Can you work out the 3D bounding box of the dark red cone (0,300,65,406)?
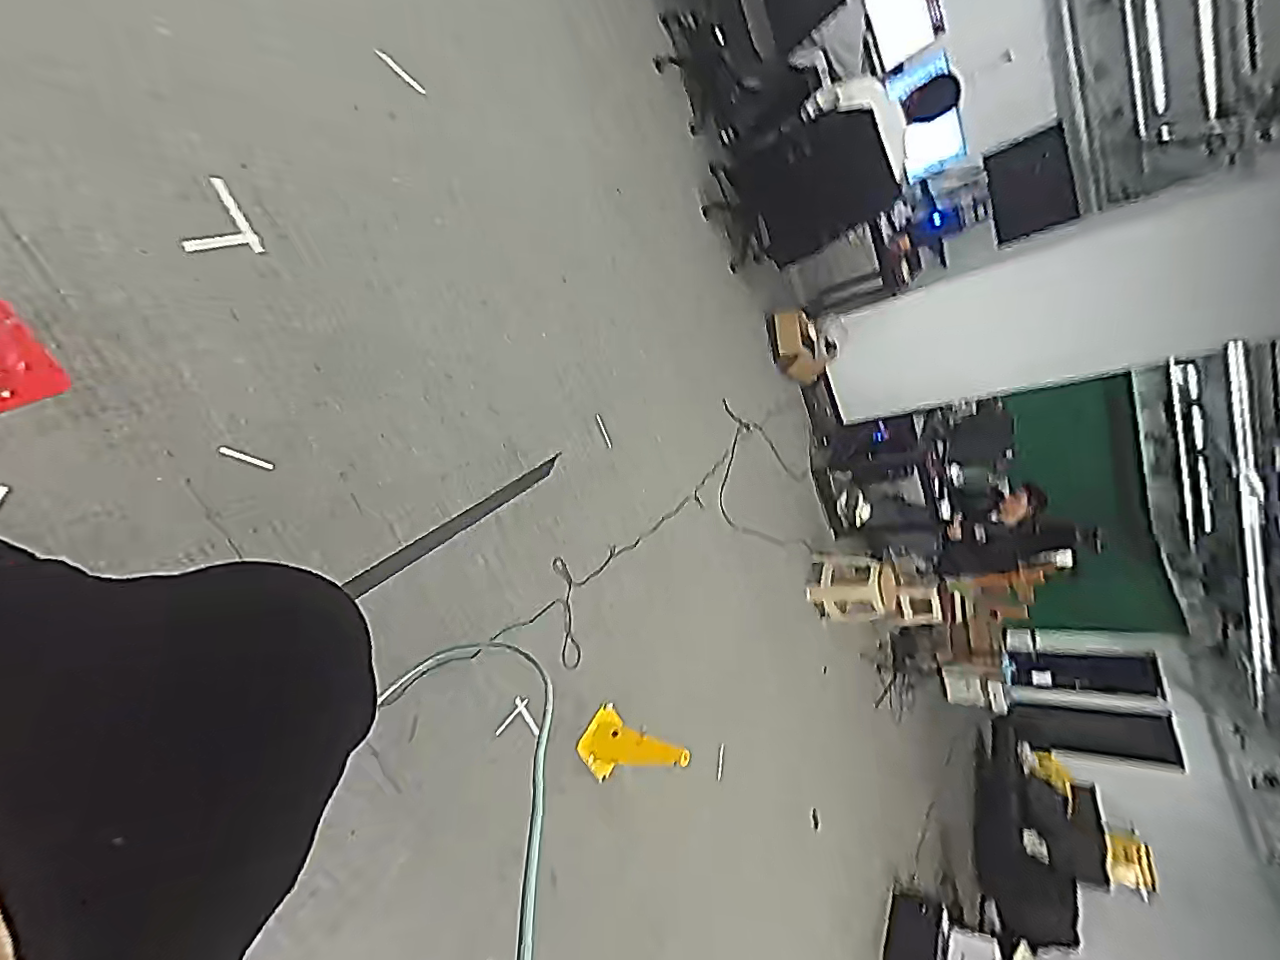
[{"bbox_3d":[-0.992,-0.229,0.779,0.202,0.394,0.201,-50,122,-44],"label":"dark red cone"}]
